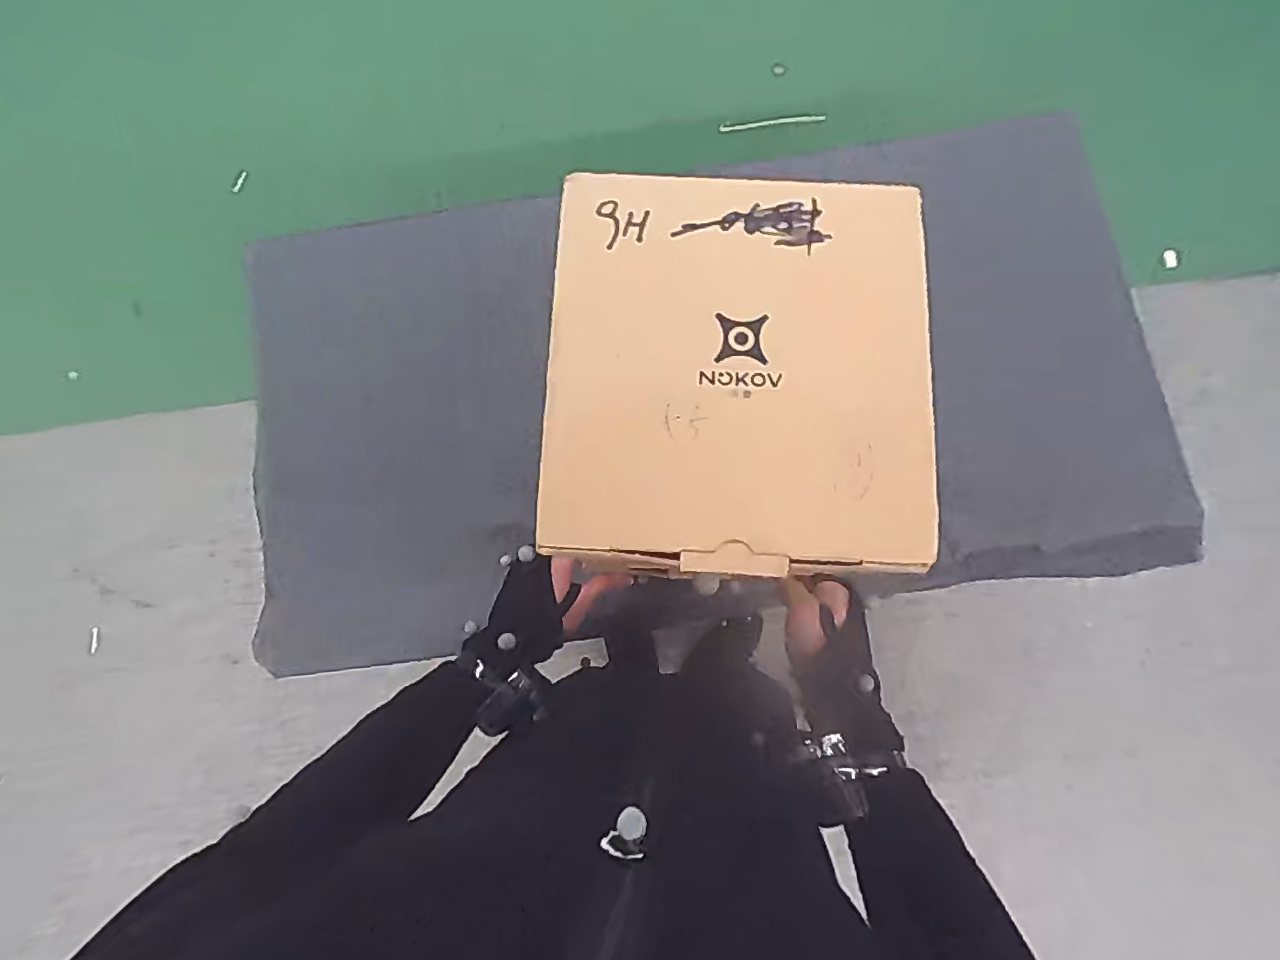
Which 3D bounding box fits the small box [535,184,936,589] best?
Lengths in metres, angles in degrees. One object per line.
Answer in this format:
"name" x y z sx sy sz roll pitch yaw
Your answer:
"small box" 0.043 -0.034 0.310 0.168 0.176 0.179 2 81 1
